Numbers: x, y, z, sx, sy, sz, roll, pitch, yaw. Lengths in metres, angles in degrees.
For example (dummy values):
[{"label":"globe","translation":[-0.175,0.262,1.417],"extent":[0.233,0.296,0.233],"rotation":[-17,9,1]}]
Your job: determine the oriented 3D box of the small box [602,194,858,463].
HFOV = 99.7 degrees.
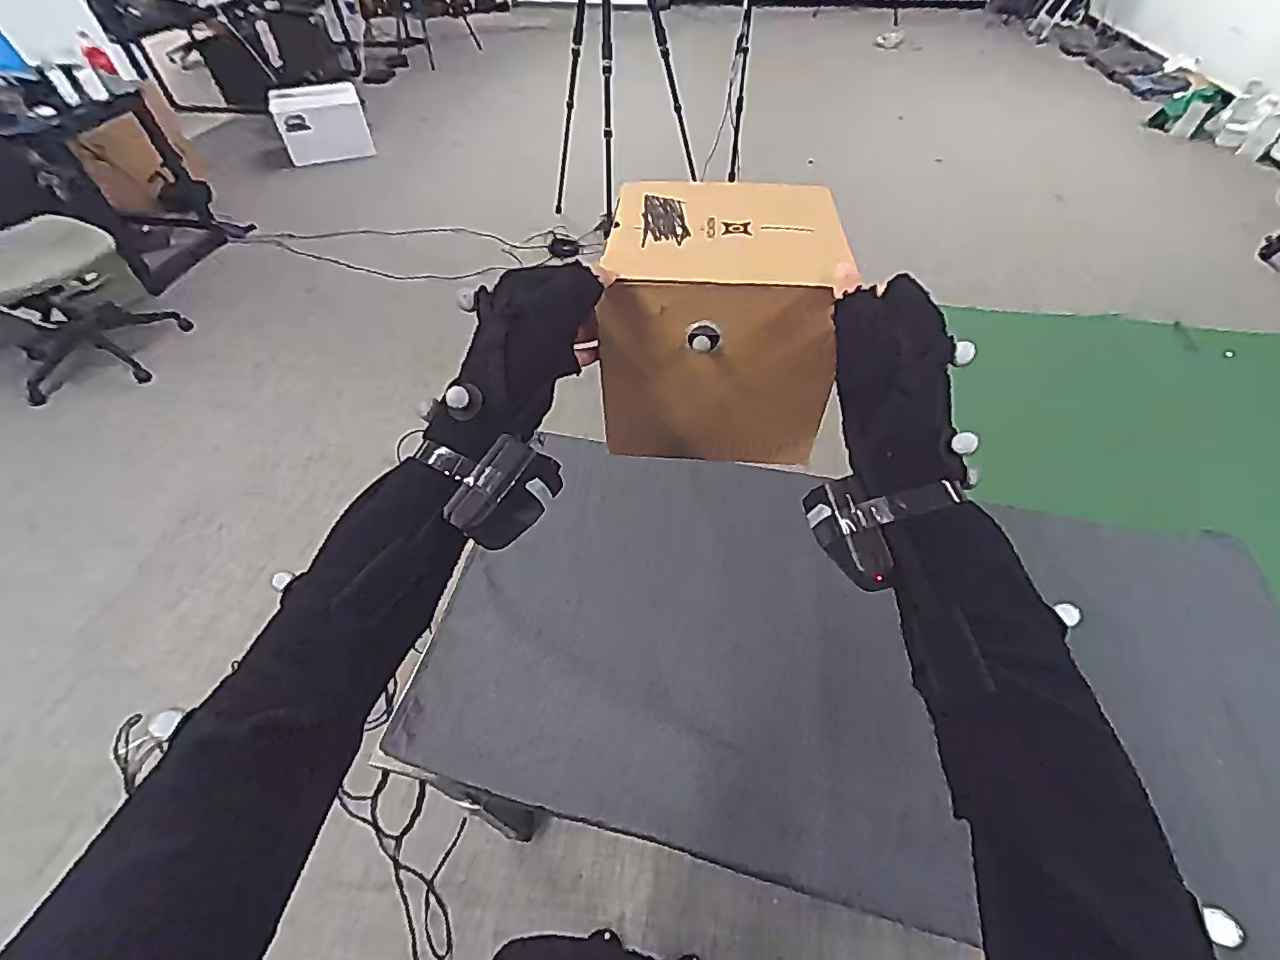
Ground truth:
[{"label":"small box","translation":[0.068,-0.131,0.476],"extent":[0.179,0.176,0.168],"rotation":[4,48,3]}]
